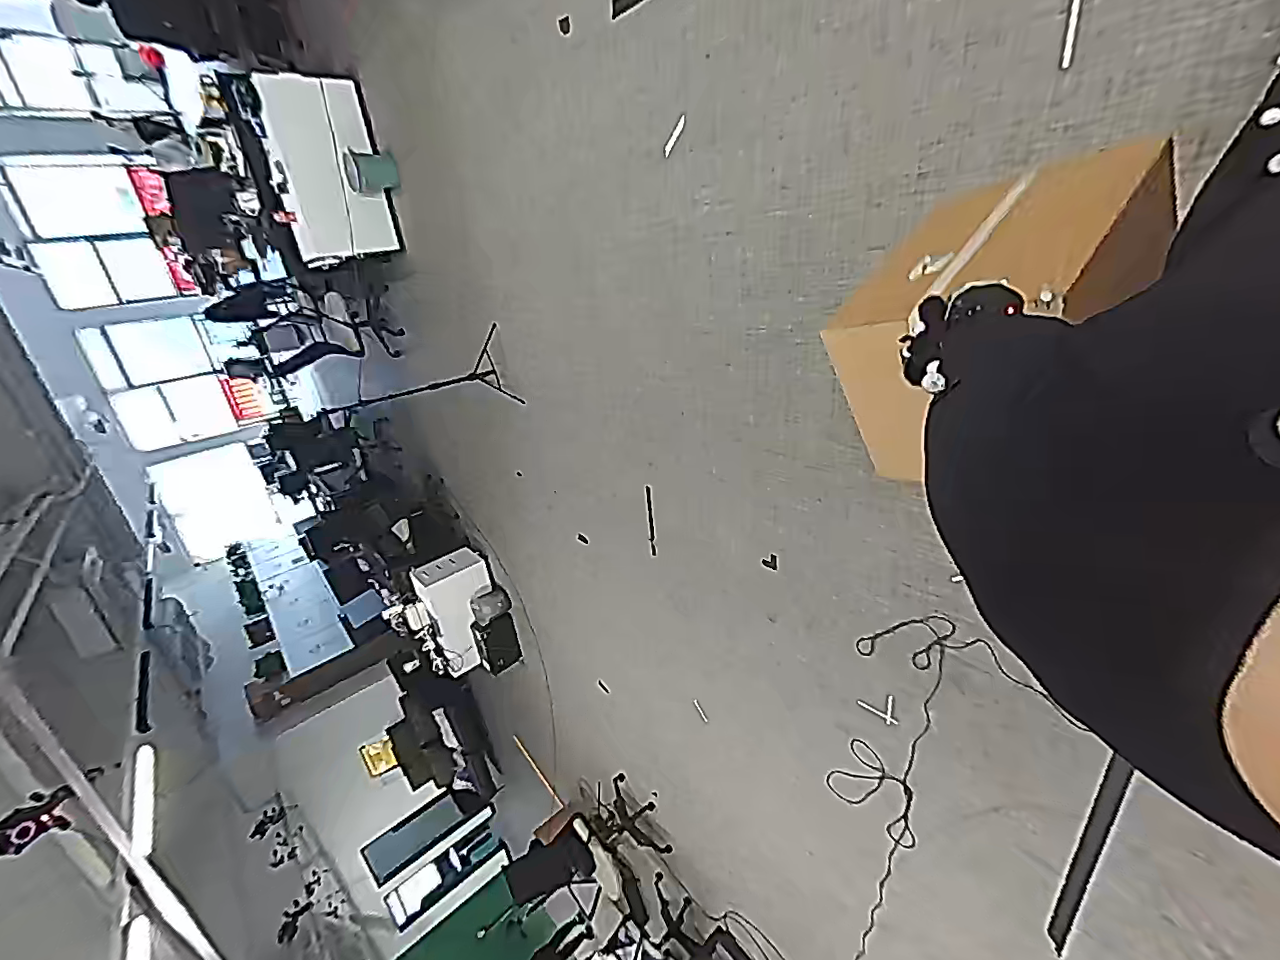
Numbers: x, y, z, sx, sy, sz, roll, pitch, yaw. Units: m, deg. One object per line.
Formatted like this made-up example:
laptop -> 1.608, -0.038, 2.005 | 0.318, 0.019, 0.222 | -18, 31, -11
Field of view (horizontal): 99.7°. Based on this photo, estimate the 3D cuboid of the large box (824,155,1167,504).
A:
large box -> 0.570, -0.221, 0.853 | 0.320, 0.408, 0.320 | 10, 140, 56
